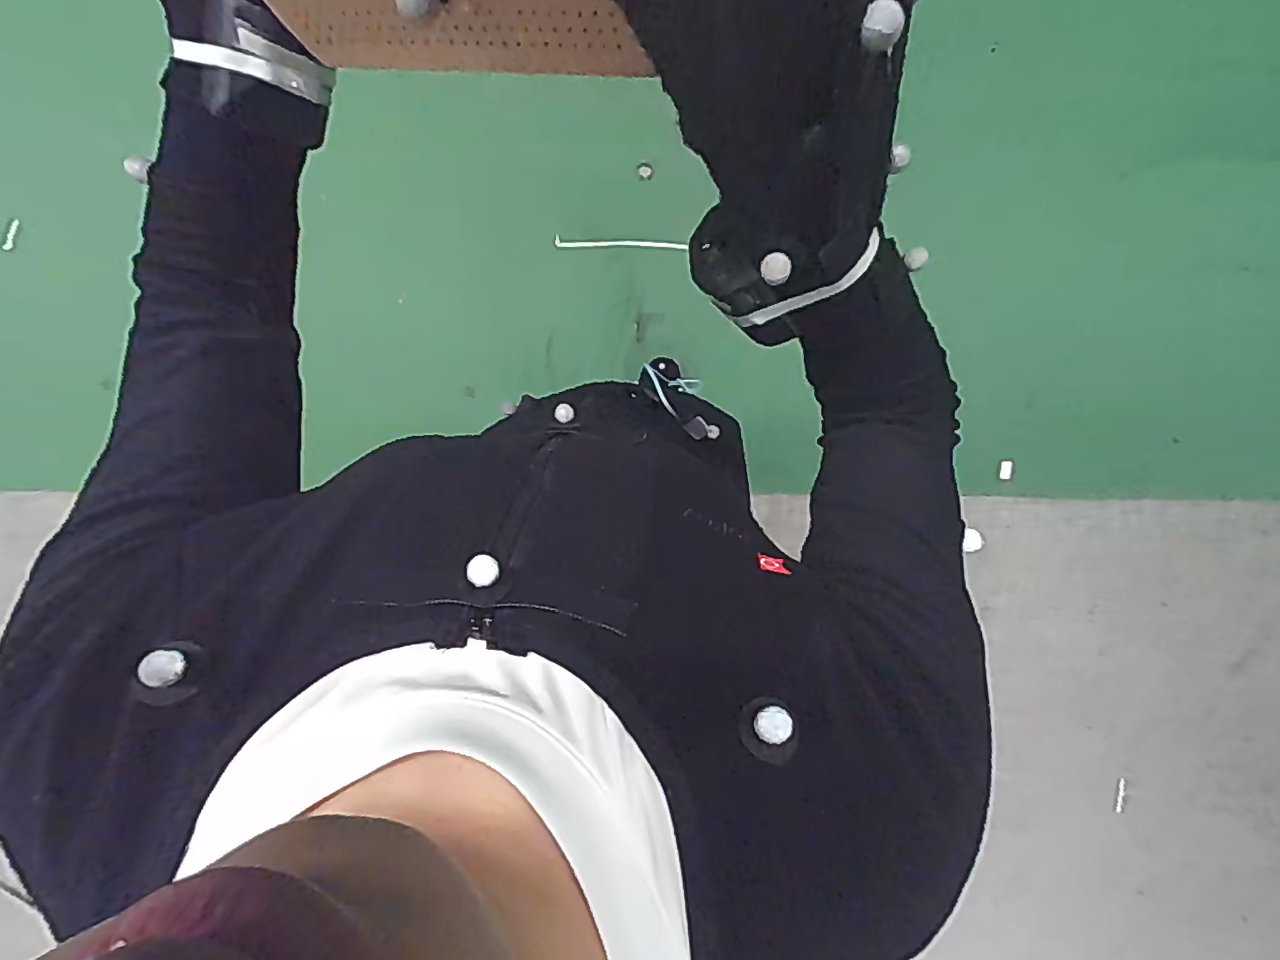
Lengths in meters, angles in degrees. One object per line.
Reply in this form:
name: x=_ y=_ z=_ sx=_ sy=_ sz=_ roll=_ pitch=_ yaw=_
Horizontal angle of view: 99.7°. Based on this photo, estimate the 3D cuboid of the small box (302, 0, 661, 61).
small box: x=-0.067 y=-0.285 z=0.181 sx=0.179 sy=0.176 sz=0.168 roll=12 pitch=83 yaw=13
